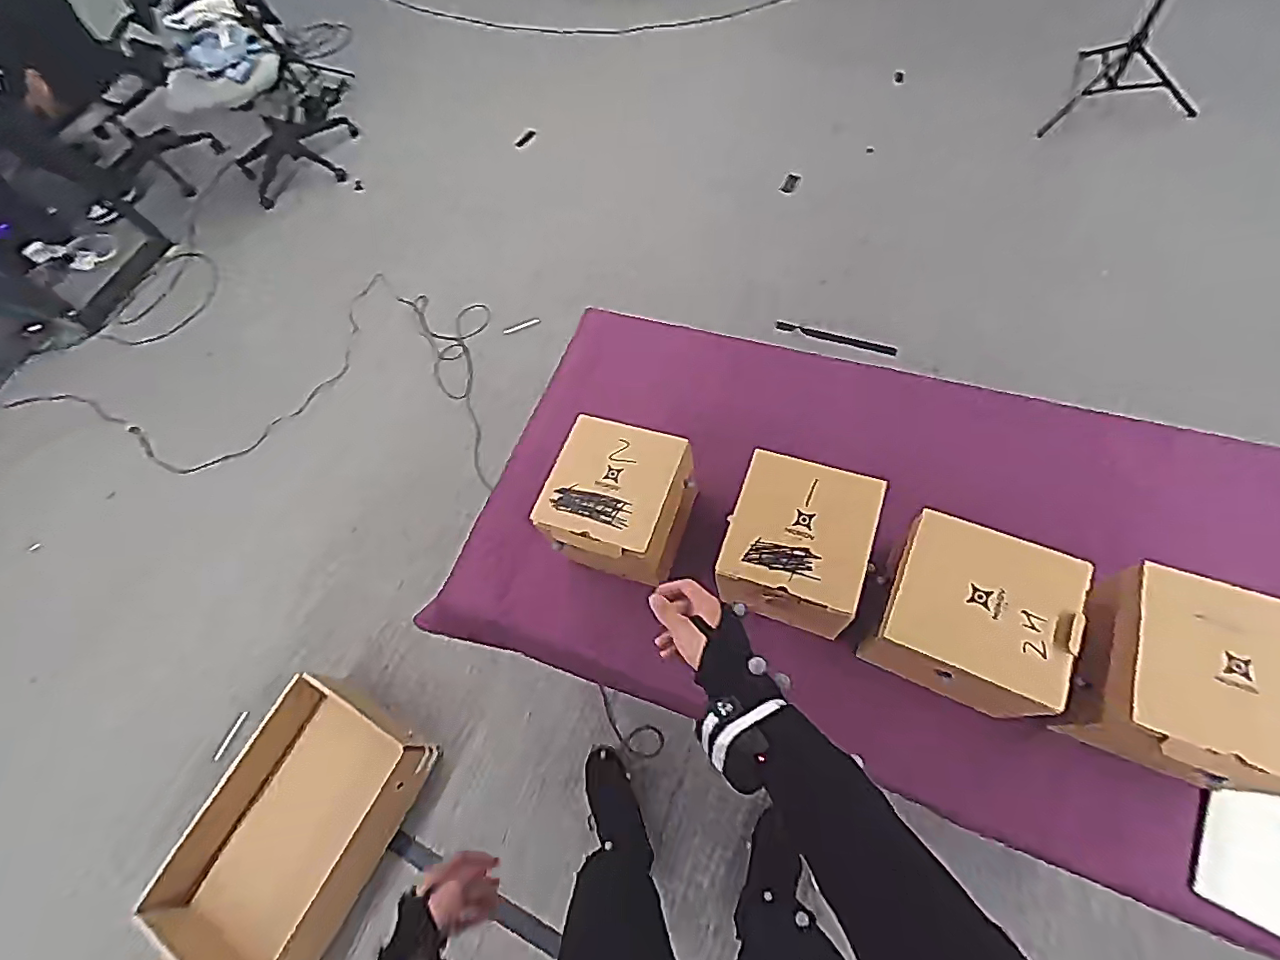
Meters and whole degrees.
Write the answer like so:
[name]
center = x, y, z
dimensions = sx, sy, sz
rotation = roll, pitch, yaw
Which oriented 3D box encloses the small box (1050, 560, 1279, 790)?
[small box]
center = 0.584, 0.215, 0.586
dimensions = 0.168, 0.176, 0.179
rotation = 19, 69, 18
